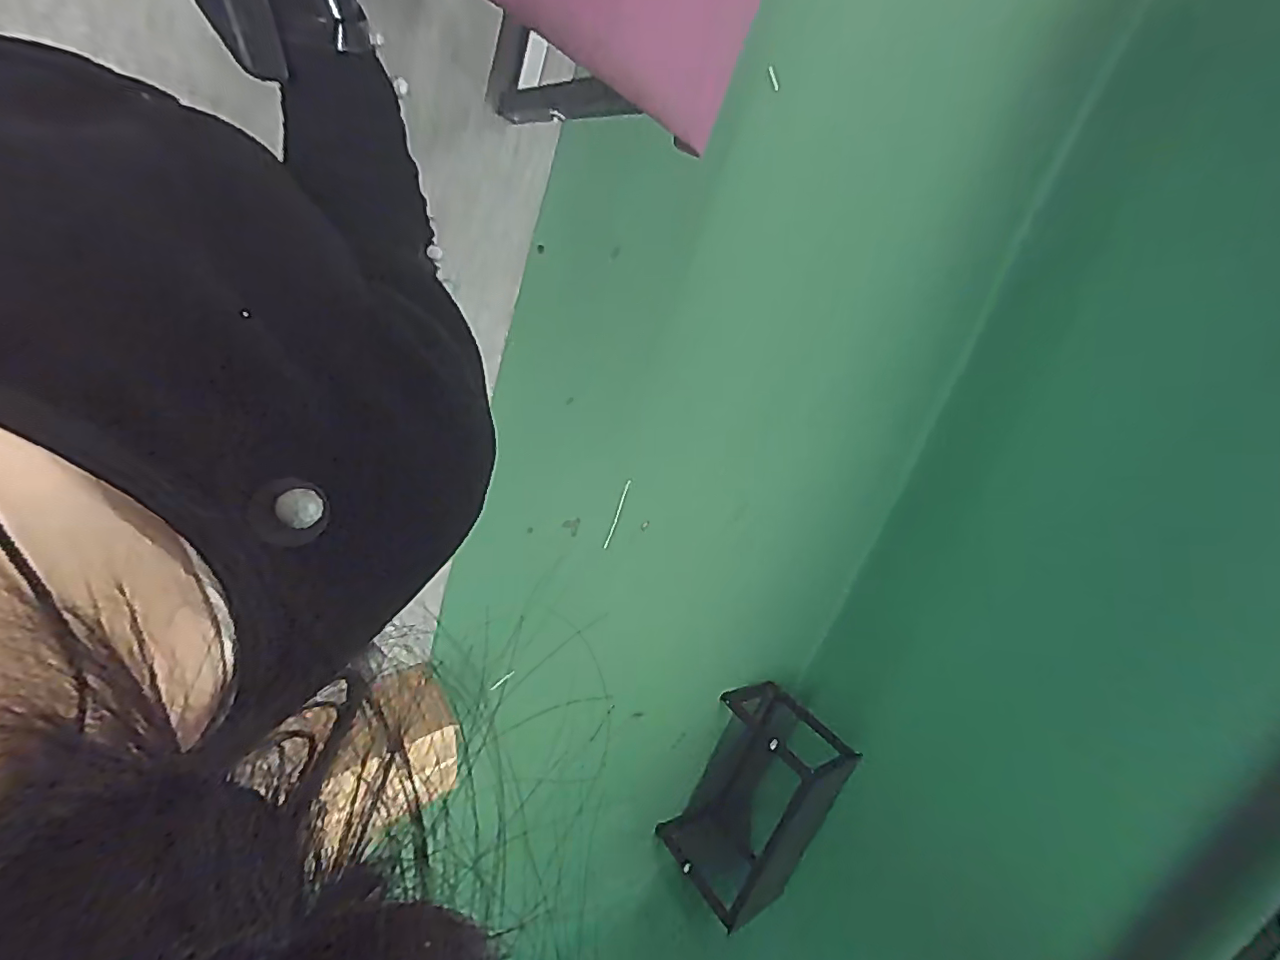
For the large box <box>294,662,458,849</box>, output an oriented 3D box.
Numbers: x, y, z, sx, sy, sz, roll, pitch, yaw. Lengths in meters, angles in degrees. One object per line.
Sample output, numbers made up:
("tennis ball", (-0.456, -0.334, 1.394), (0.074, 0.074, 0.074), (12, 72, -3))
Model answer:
("large box", (-0.849, 0.869, 1.761), (0.408, 0.320, 0.320), (-13, 123, -37))
